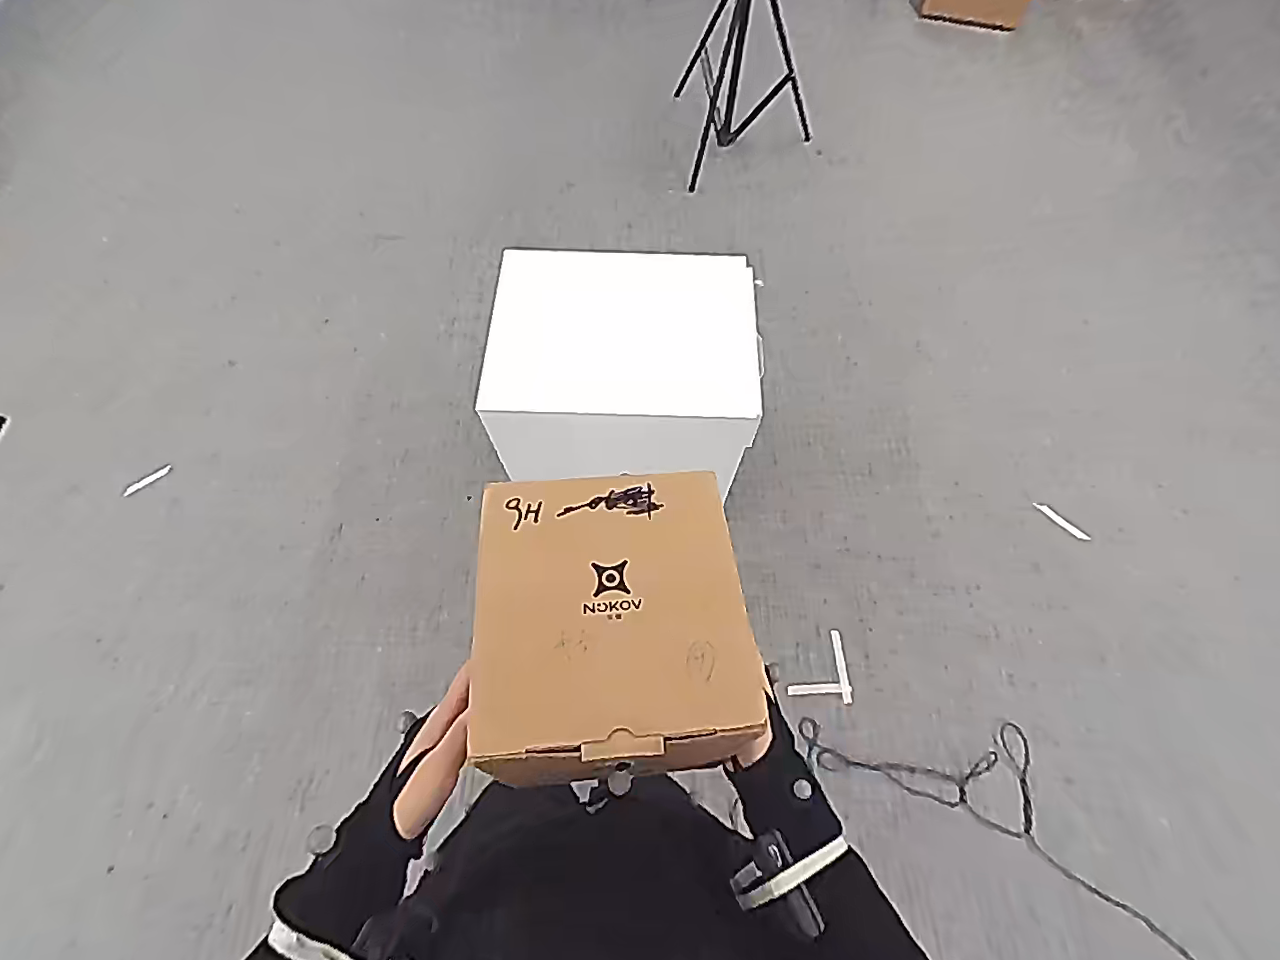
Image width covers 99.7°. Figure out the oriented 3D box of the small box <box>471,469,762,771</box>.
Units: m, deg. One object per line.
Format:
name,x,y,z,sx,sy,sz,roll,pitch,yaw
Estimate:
small box,-0.022,0.112,0.407,0.168,0.176,0.179,-3,57,-7
